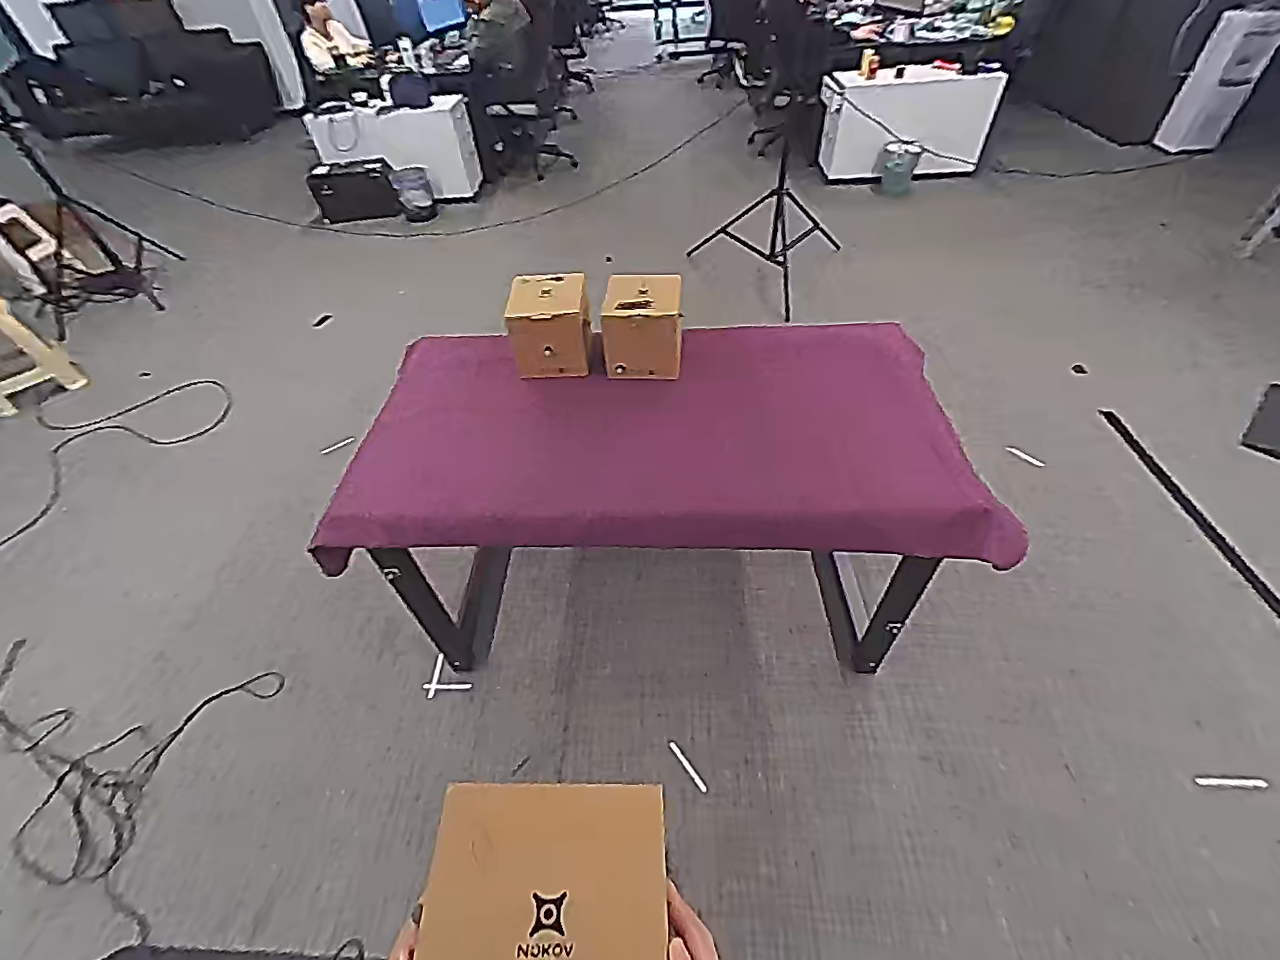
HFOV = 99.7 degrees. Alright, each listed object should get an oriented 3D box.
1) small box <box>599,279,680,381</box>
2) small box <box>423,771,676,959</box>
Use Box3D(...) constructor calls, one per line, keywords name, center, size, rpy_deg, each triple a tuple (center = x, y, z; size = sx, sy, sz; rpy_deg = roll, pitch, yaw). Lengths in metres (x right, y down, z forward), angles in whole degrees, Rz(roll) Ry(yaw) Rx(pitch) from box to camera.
Box3D(name="small box", center=(0.006, -0.344, 1.249), size=(0.168, 0.176, 0.179), rpy_deg=(2, 48, 6))
Box3D(name="small box", center=(-0.066, 0.347, 0.421), size=(0.168, 0.176, 0.179), rpy_deg=(3, 48, -4))
